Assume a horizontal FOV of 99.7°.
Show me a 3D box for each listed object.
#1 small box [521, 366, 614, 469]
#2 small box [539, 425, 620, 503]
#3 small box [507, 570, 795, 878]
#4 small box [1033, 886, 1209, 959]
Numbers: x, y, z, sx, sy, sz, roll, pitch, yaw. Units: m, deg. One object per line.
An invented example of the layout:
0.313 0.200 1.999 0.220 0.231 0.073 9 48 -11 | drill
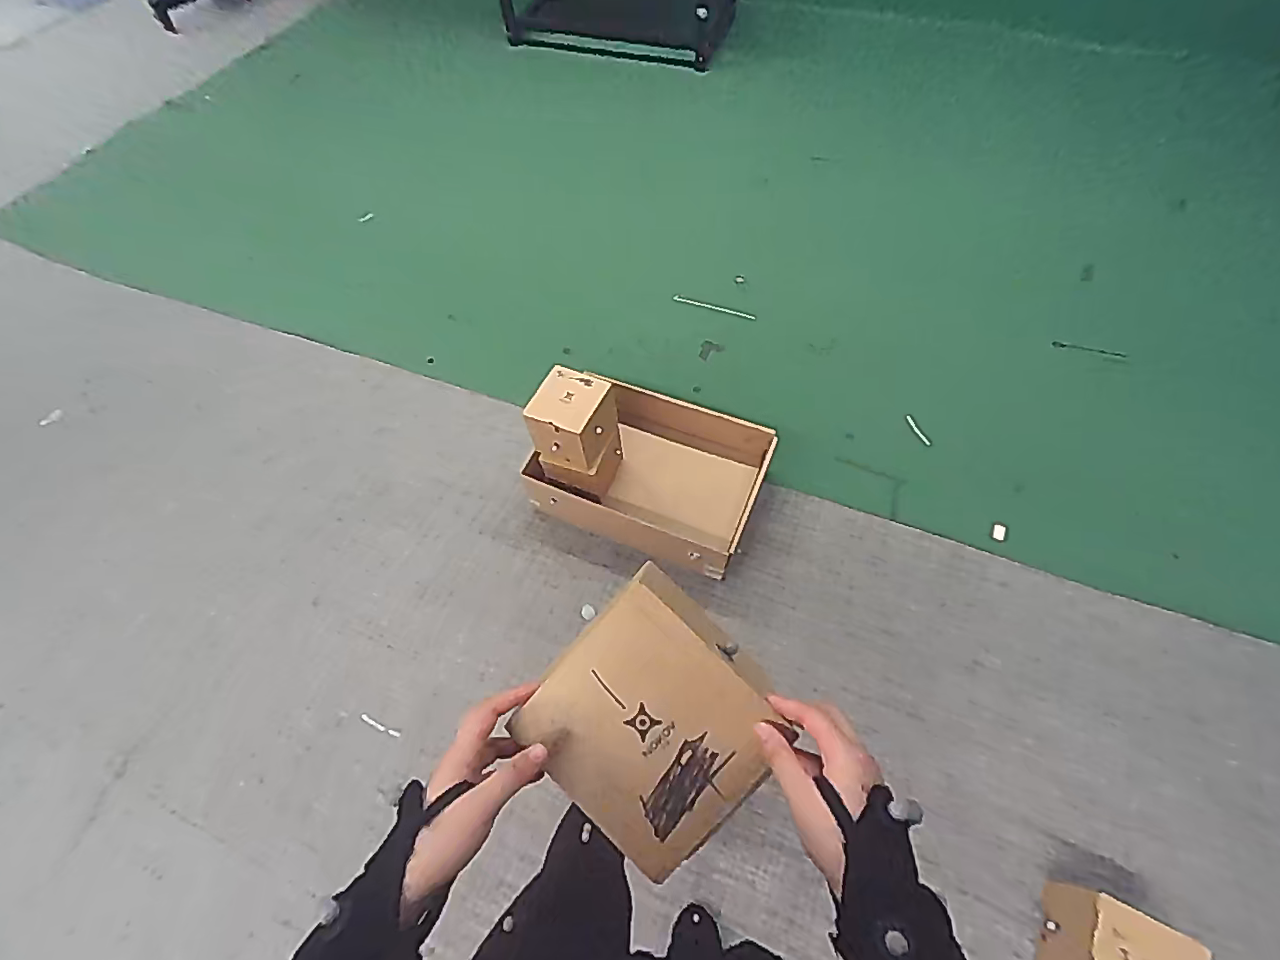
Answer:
-0.176 -0.156 1.394 0.168 0.176 0.179 21 65 15 | small box
-0.163 -0.063 1.529 0.168 0.176 0.179 16 64 13 | small box
0.013 0.204 0.512 0.179 0.176 0.168 44 90 5 | small box
0.871 0.882 0.989 0.179 0.176 0.168 23 64 16 | small box
